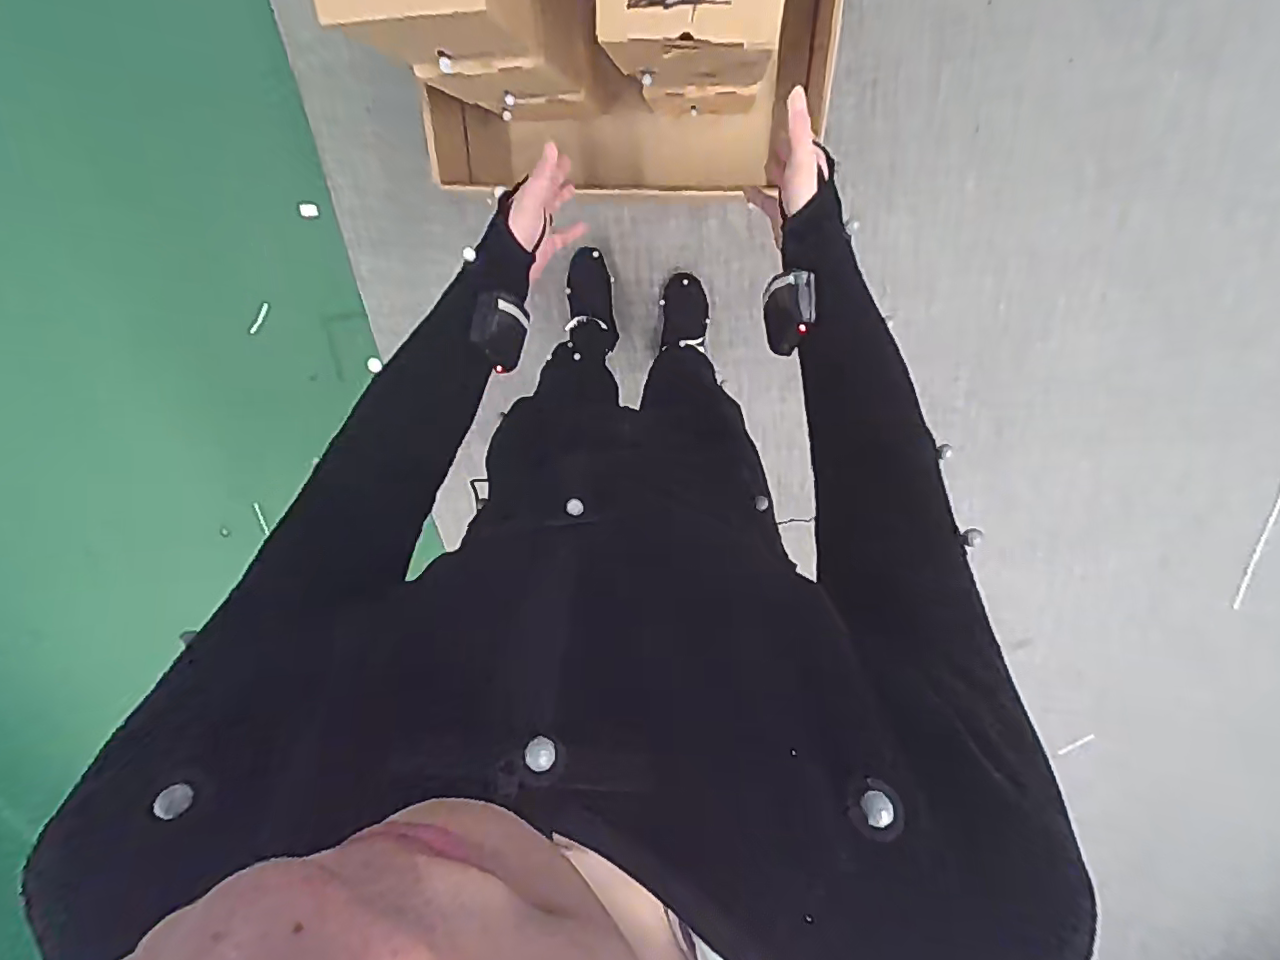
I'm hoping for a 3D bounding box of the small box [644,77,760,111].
[{"bbox_3d":[0.094,-0.659,0.794,0.168,0.176,0.179,3,119,5],"label":"small box"}]

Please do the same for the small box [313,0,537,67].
[{"bbox_3d":[-0.206,-0.527,0.521,0.168,0.176,0.179,2,118,6],"label":"small box"}]

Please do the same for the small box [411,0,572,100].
[{"bbox_3d":[-0.185,-0.594,0.670,0.168,0.176,0.179,0,118,6],"label":"small box"}]

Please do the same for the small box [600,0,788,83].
[{"bbox_3d":[0.059,-0.495,0.511,0.168,0.176,0.179,6,120,3],"label":"small box"}]

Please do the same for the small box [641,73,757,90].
[{"bbox_3d":[0.076,-0.590,0.646,0.168,0.176,0.179,5,119,4],"label":"small box"}]
